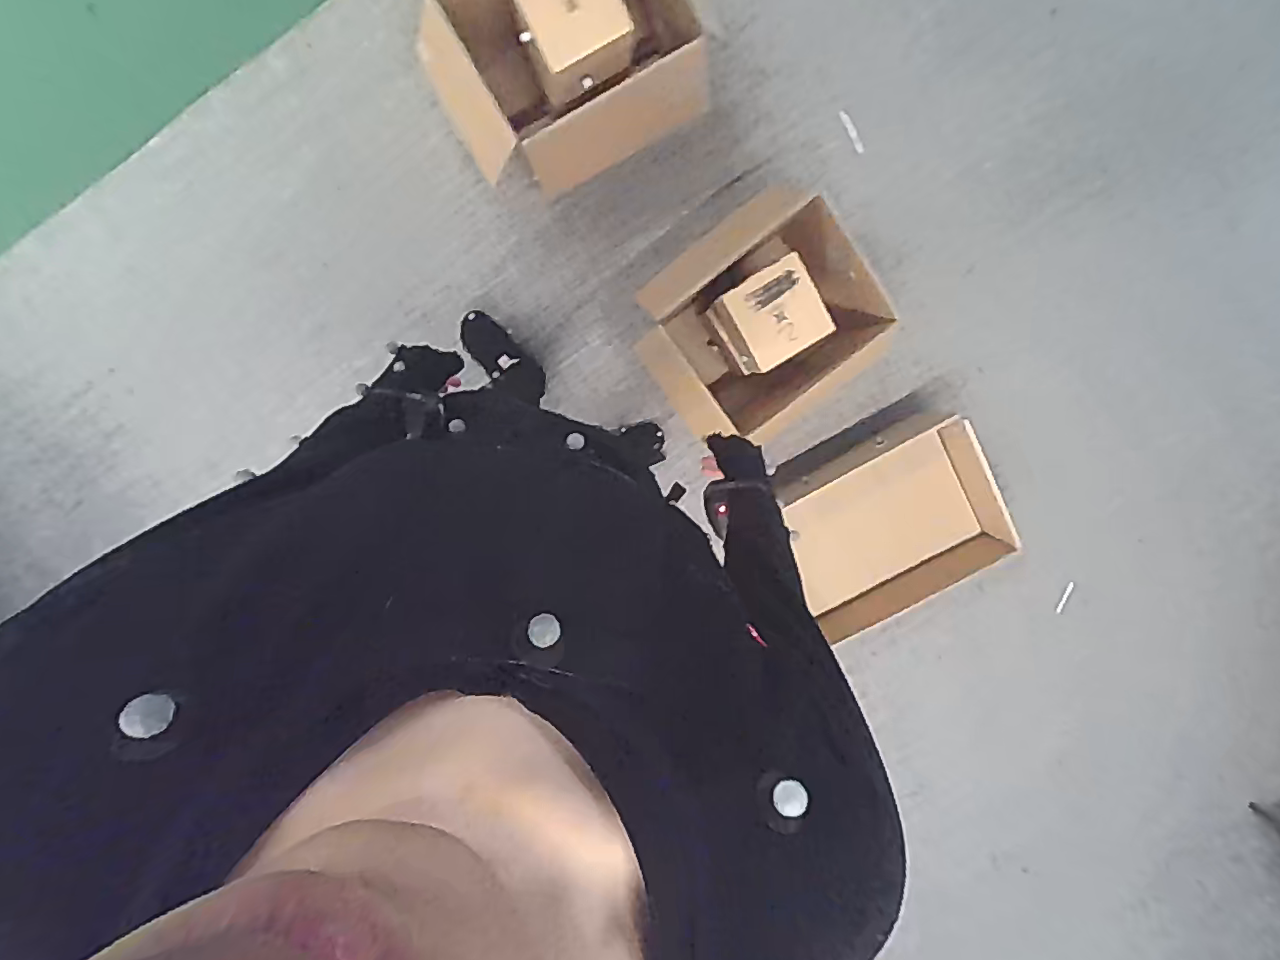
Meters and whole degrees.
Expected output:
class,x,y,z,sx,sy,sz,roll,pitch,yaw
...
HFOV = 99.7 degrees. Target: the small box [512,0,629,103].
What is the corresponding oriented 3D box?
class,x,y,z,sx,sy,sz,roll,pitch,yaw
small box,-0.131,-0.867,1.036,0.168,0.176,0.179,-28,102,3
